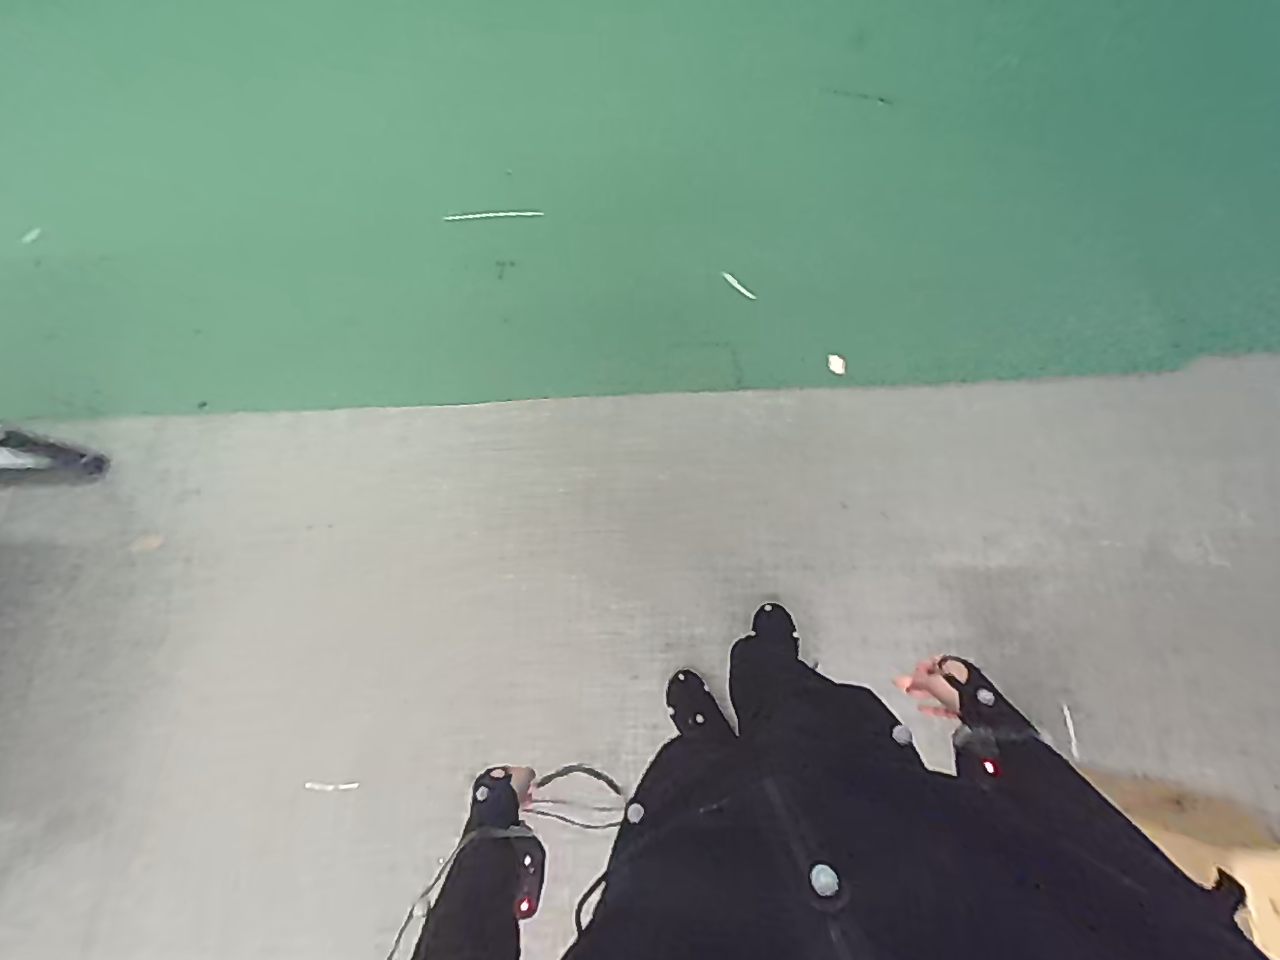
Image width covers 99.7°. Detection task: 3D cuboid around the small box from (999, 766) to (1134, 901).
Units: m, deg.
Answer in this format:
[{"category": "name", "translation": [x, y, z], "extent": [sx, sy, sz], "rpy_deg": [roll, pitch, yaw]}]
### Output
[{"category": "small box", "translation": [0.783, 0.626, 0.974], "extent": [0.179, 0.176, 0.168], "rpy_deg": [-4, 74, 4]}]

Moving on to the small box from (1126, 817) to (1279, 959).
[{"category": "small box", "translation": [0.766, 0.529, 0.660], "extent": [0.179, 0.176, 0.168], "rpy_deg": [-4, 73, 3]}]
